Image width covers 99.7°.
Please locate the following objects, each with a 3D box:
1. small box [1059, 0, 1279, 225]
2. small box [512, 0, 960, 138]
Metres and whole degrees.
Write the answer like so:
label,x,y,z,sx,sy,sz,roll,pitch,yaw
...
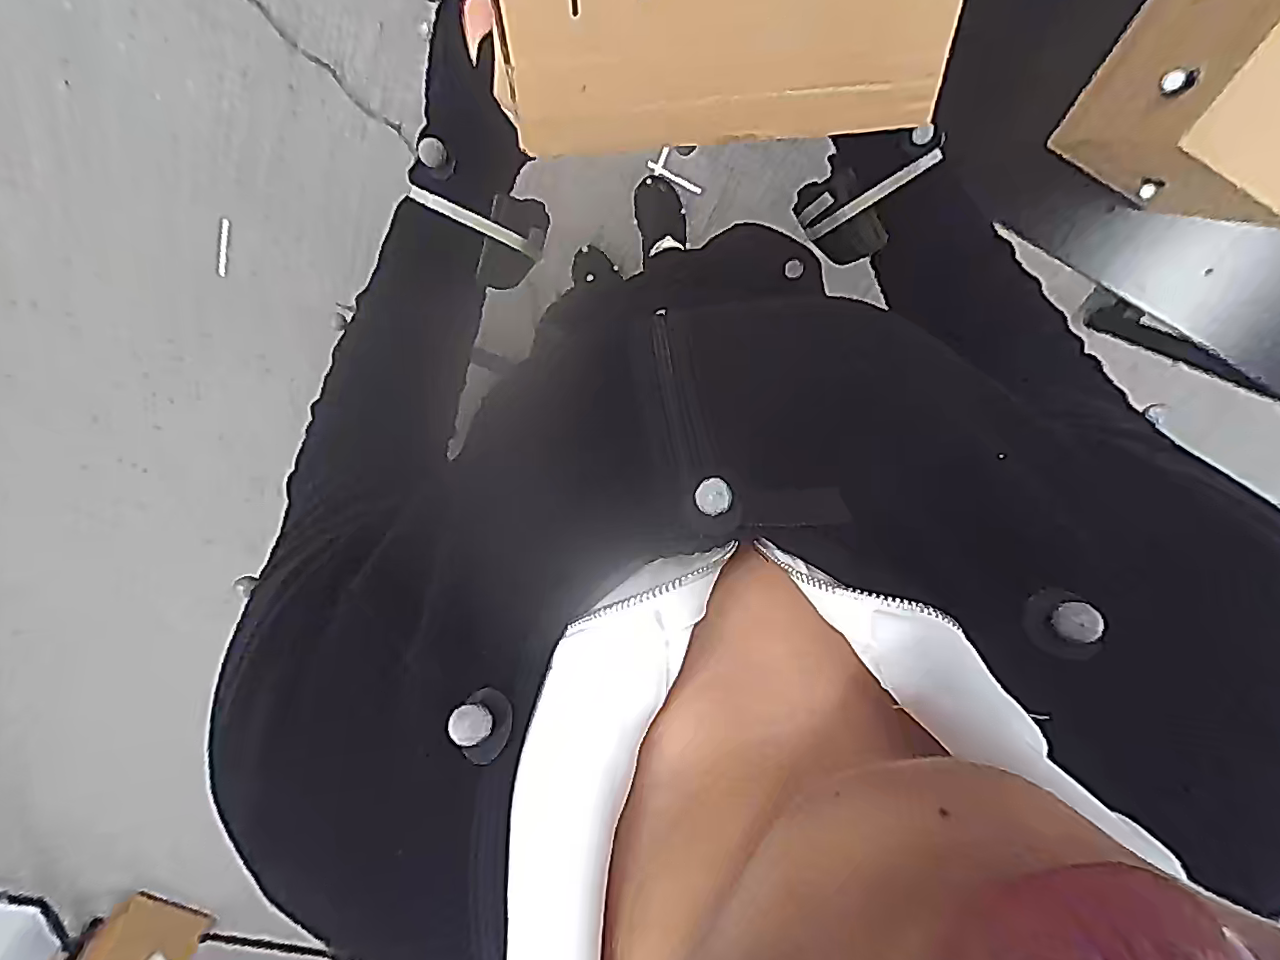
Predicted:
label,x,y,z,sx,sy,sz,roll,pitch,yaw
small box,0.542,-0.366,0.497,0.168,0.176,0.179,20,119,-13
small box,0.034,-0.267,0.239,0.179,0.176,0.168,-4,135,0
